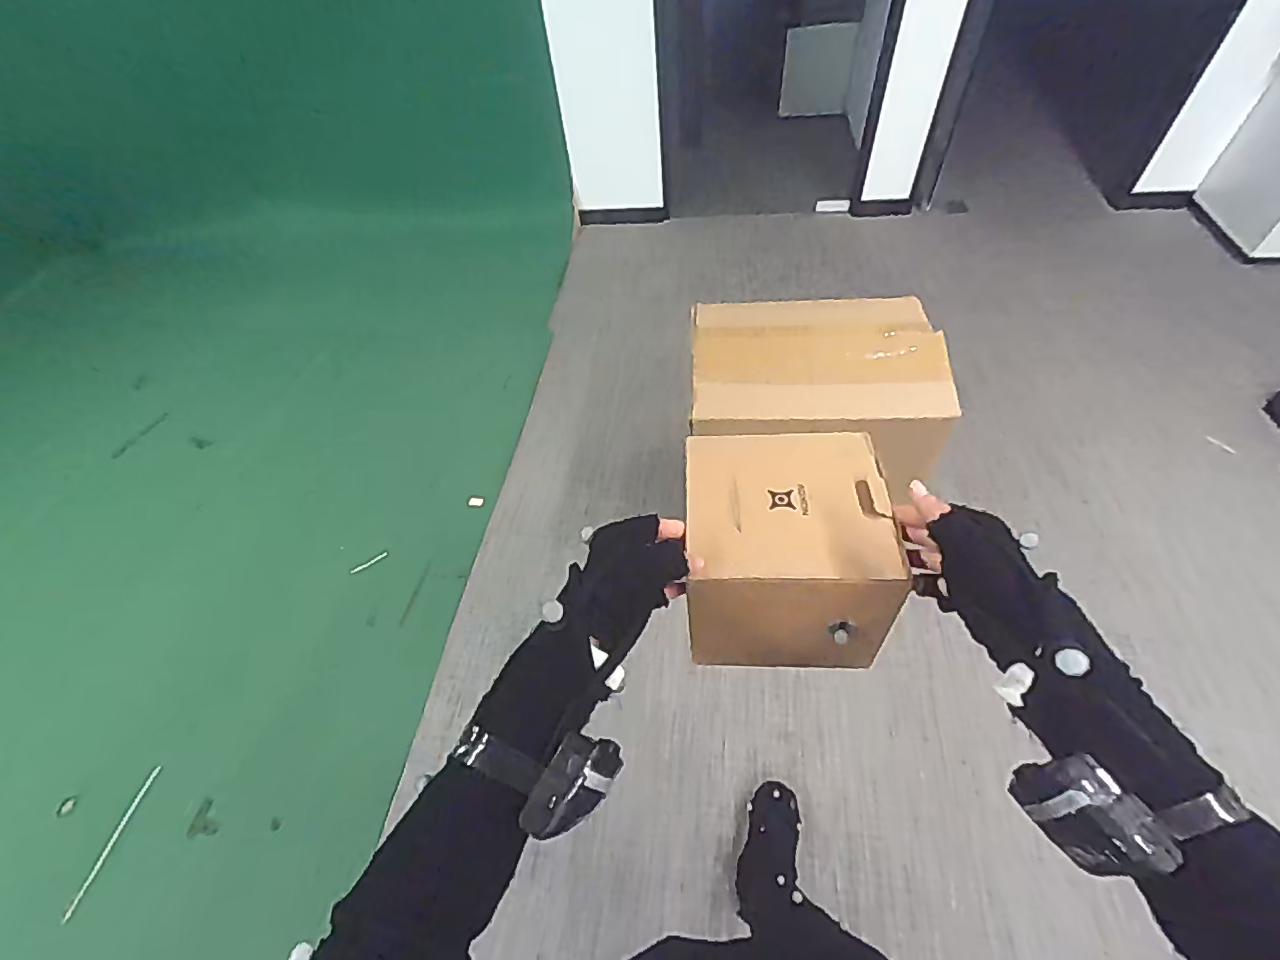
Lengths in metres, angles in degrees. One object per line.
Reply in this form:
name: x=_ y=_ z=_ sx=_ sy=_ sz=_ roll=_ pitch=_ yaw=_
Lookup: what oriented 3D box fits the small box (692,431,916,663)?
small box: x=0.142 y=0.070 z=0.540 sx=0.179 sy=0.176 sz=0.168 roll=-3 pitch=47 yaw=7
